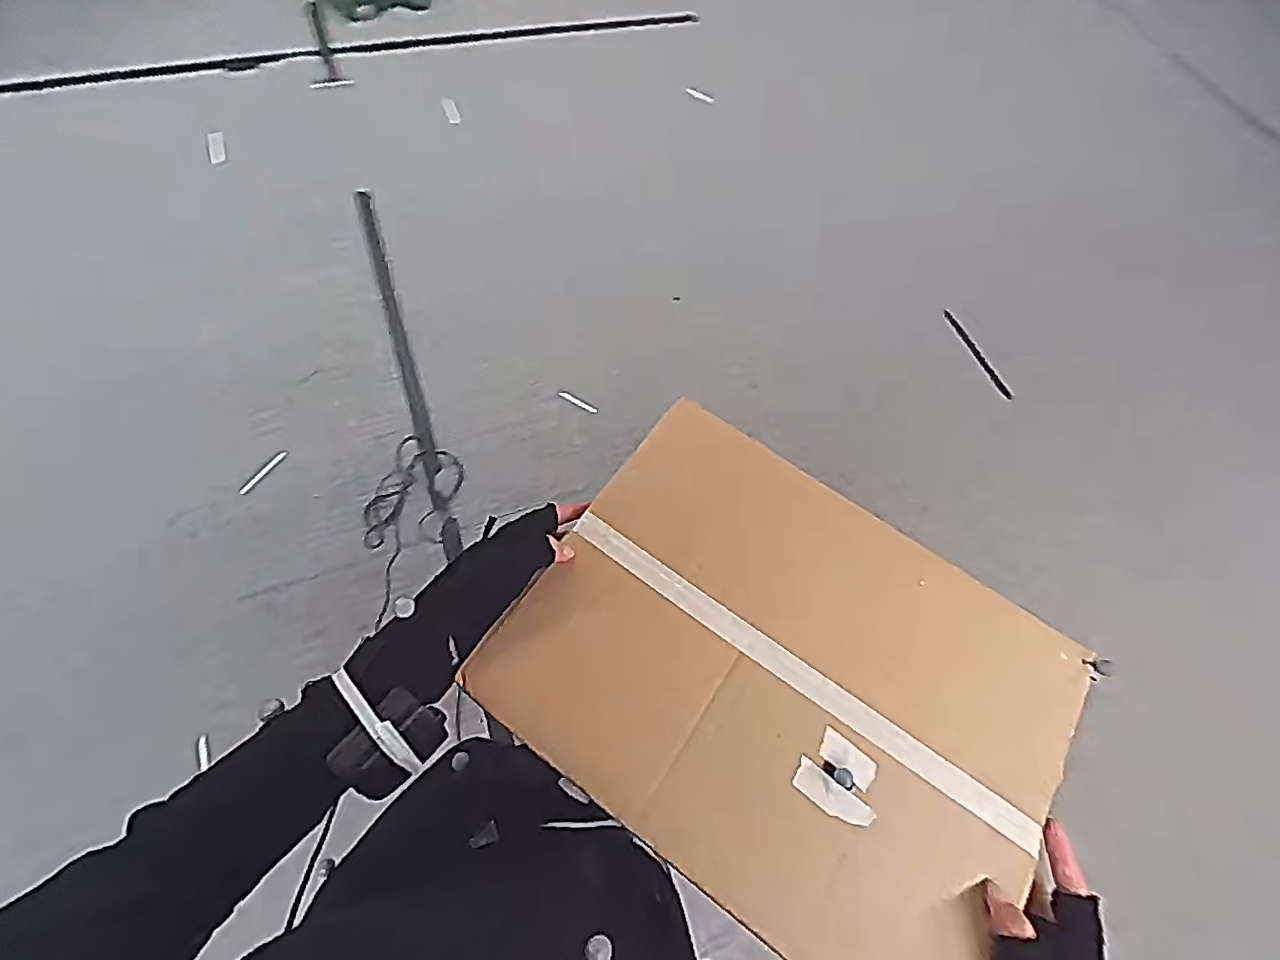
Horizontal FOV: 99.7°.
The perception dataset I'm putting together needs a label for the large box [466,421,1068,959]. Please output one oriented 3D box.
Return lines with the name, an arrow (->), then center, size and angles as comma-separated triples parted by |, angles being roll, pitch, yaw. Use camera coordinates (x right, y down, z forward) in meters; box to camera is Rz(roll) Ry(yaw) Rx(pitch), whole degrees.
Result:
large box -> 0.101, 0.216, 0.566 | 0.408, 0.320, 0.320 | 33, 69, 11
